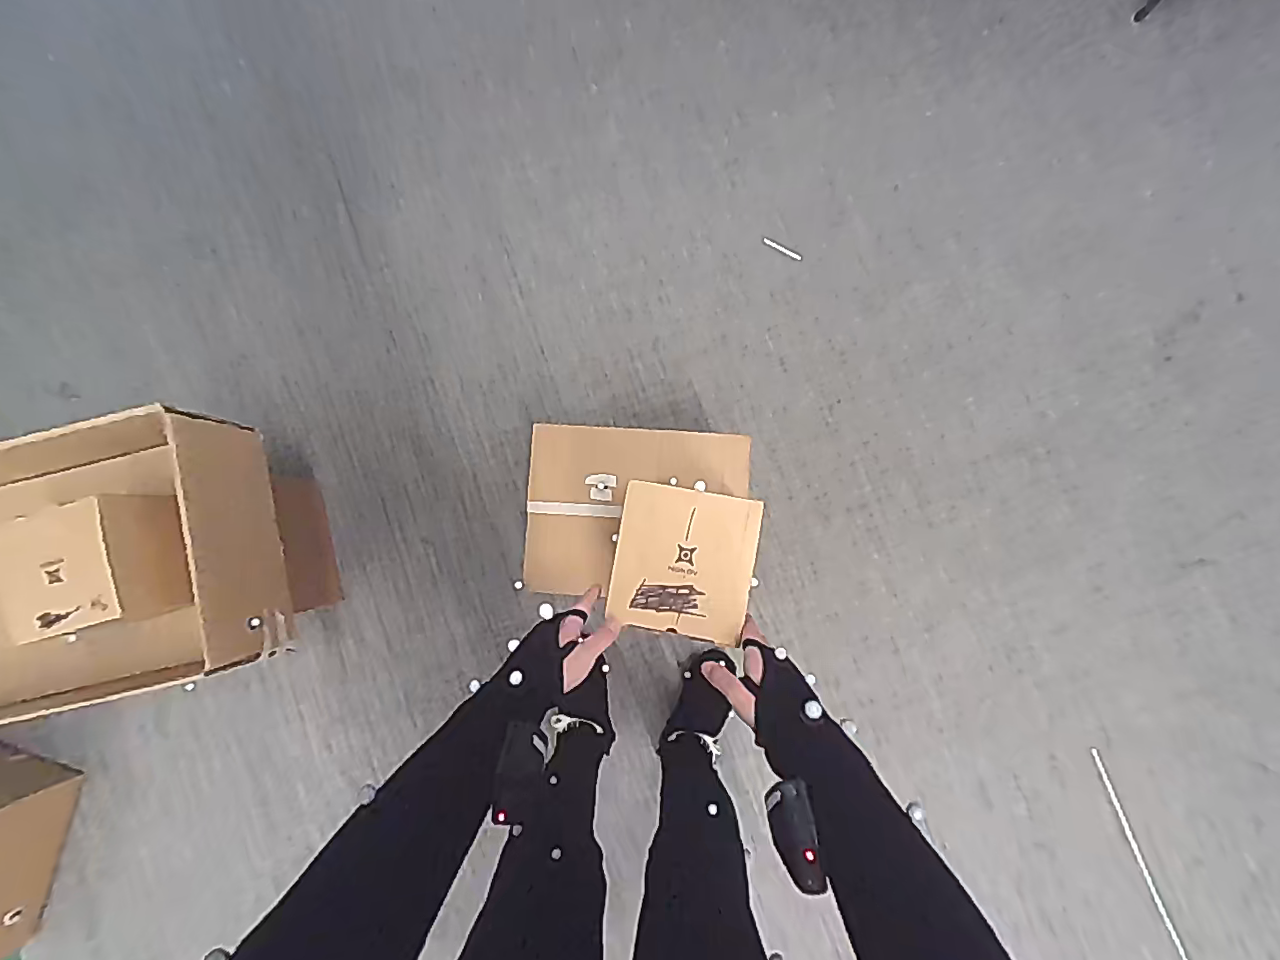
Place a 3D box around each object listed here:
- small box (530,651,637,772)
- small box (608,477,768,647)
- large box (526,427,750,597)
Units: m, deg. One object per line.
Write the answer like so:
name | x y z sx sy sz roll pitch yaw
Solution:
small box | -0.115 0.503 1.211 0.168 0.176 0.179 26 84 10
small box | 0.063 0.099 0.715 0.168 0.176 0.179 10 88 5
large box | 0.008 0.068 1.129 0.408 0.320 0.320 3 86 4
